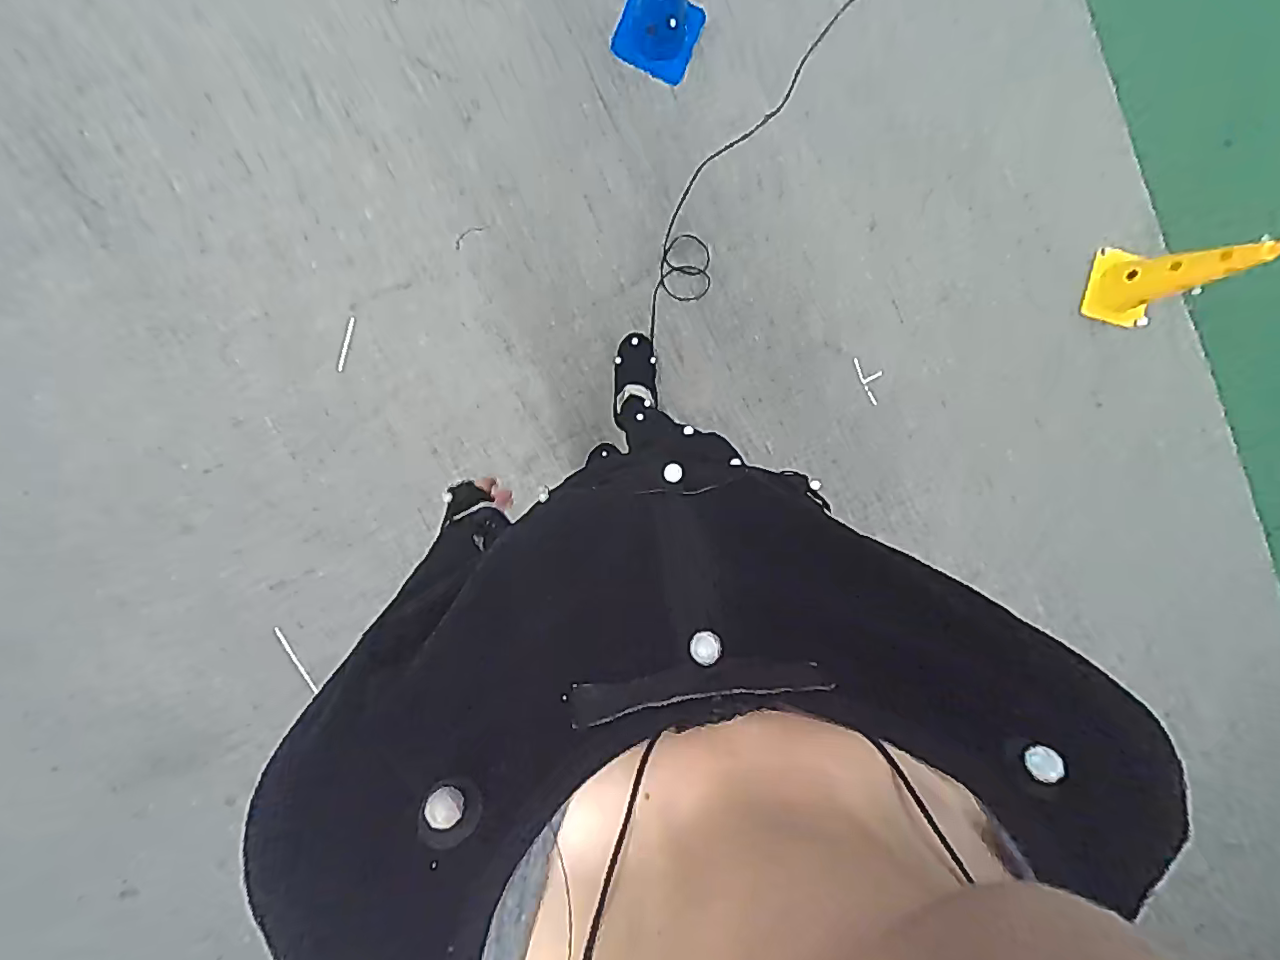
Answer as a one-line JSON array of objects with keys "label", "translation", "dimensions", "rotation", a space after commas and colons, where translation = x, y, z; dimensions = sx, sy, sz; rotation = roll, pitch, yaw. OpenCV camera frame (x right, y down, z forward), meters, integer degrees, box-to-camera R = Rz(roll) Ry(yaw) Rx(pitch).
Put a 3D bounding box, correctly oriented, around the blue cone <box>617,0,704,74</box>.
[{"label": "blue cone", "translation": [0.062, -1.120, 1.196], "dimensions": [0.193, 0.380, 0.192], "rotation": [21, 94, -6]}]
